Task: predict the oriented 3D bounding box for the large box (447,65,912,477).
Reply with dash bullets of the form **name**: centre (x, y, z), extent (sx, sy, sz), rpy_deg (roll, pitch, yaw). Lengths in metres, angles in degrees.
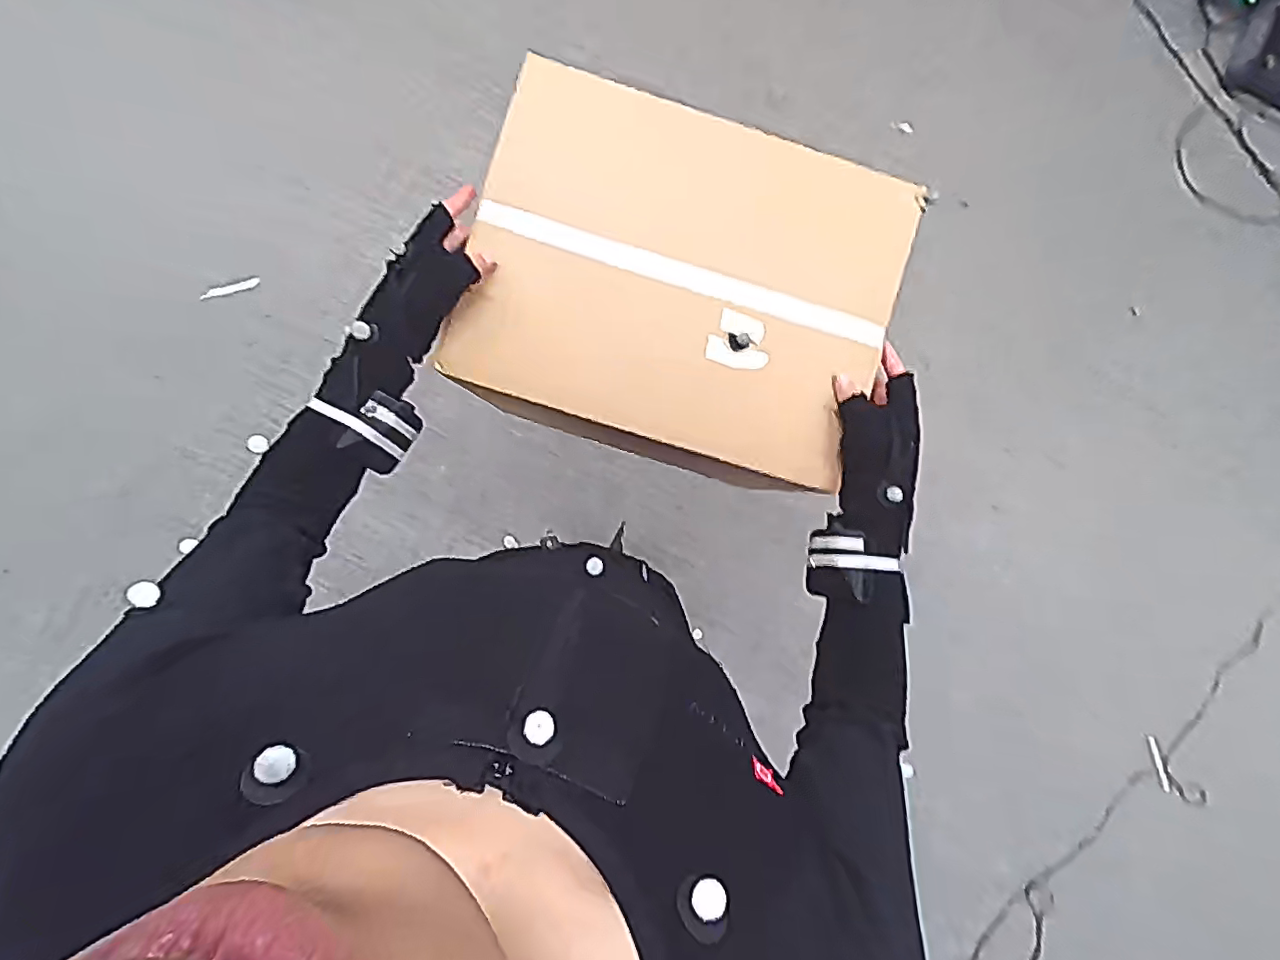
- **large box**: centre (0.033, -0.202, 0.674), extent (0.408, 0.320, 0.320), rpy_deg (16, 90, -4)
